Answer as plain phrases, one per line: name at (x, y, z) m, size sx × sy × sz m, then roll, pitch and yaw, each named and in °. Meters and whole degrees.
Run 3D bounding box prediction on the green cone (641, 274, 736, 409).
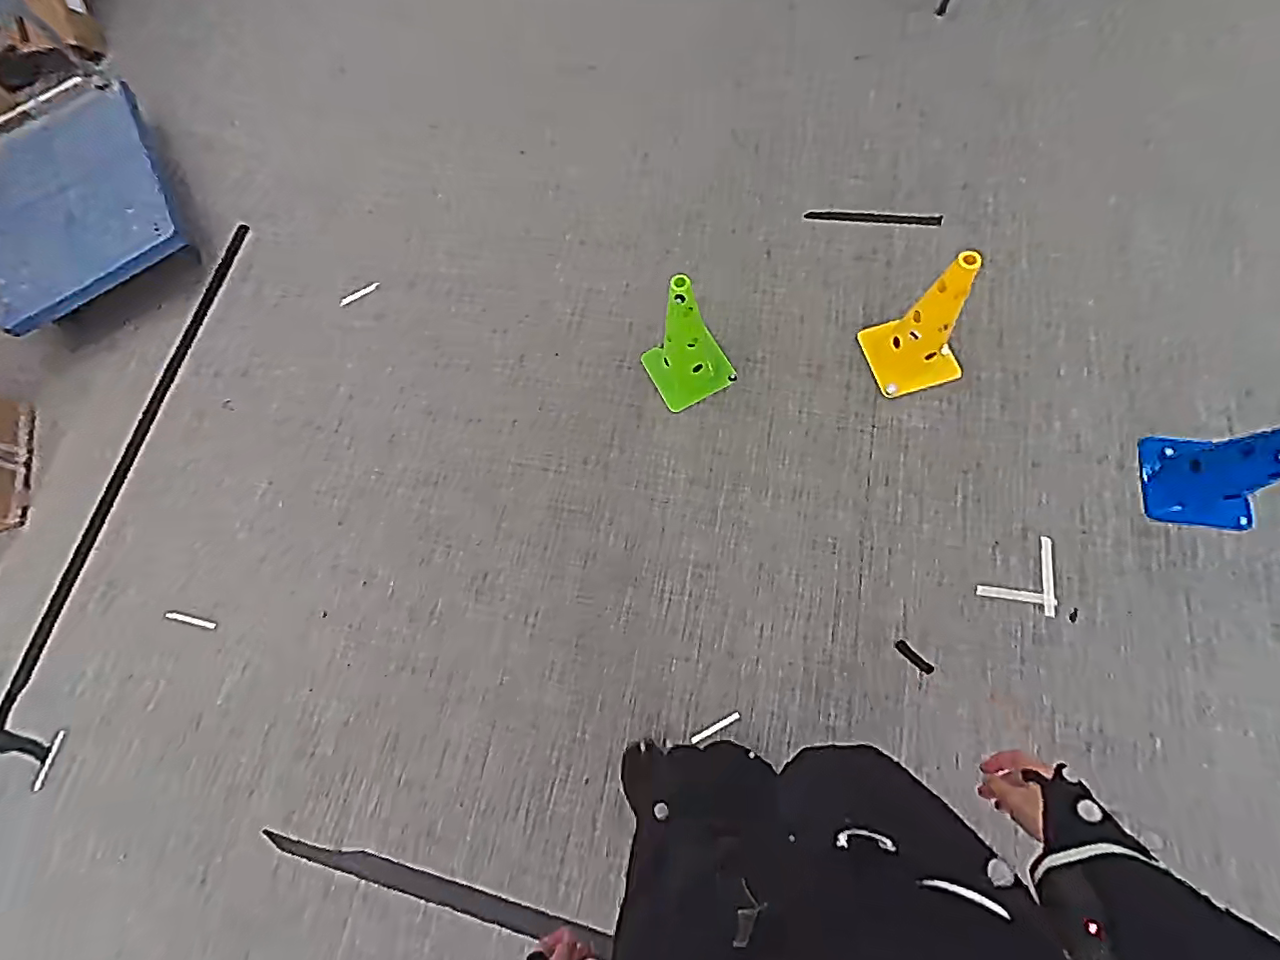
green cone at (0.102, -0.357, 1.273) m, size 0.202 × 0.368 × 0.200 m, roll -29°, pitch 70°, yaw -1°
